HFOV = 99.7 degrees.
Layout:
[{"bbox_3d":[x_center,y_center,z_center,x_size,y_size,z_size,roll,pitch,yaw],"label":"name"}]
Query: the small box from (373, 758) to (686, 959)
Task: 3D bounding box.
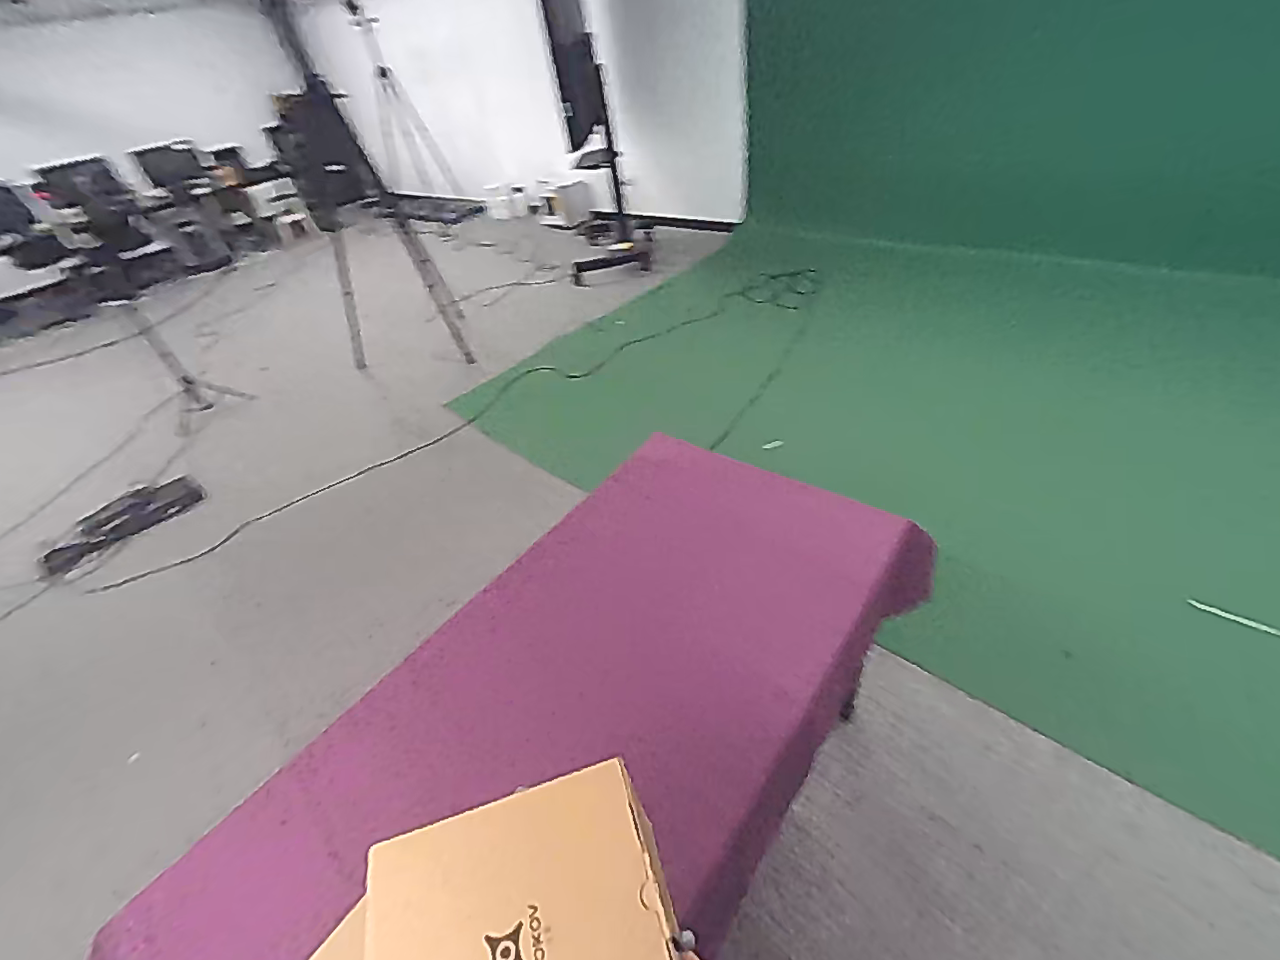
[{"bbox_3d":[-0.061,0.328,0.369,0.179,0.176,0.168,-15,44,-8],"label":"small box"}]
